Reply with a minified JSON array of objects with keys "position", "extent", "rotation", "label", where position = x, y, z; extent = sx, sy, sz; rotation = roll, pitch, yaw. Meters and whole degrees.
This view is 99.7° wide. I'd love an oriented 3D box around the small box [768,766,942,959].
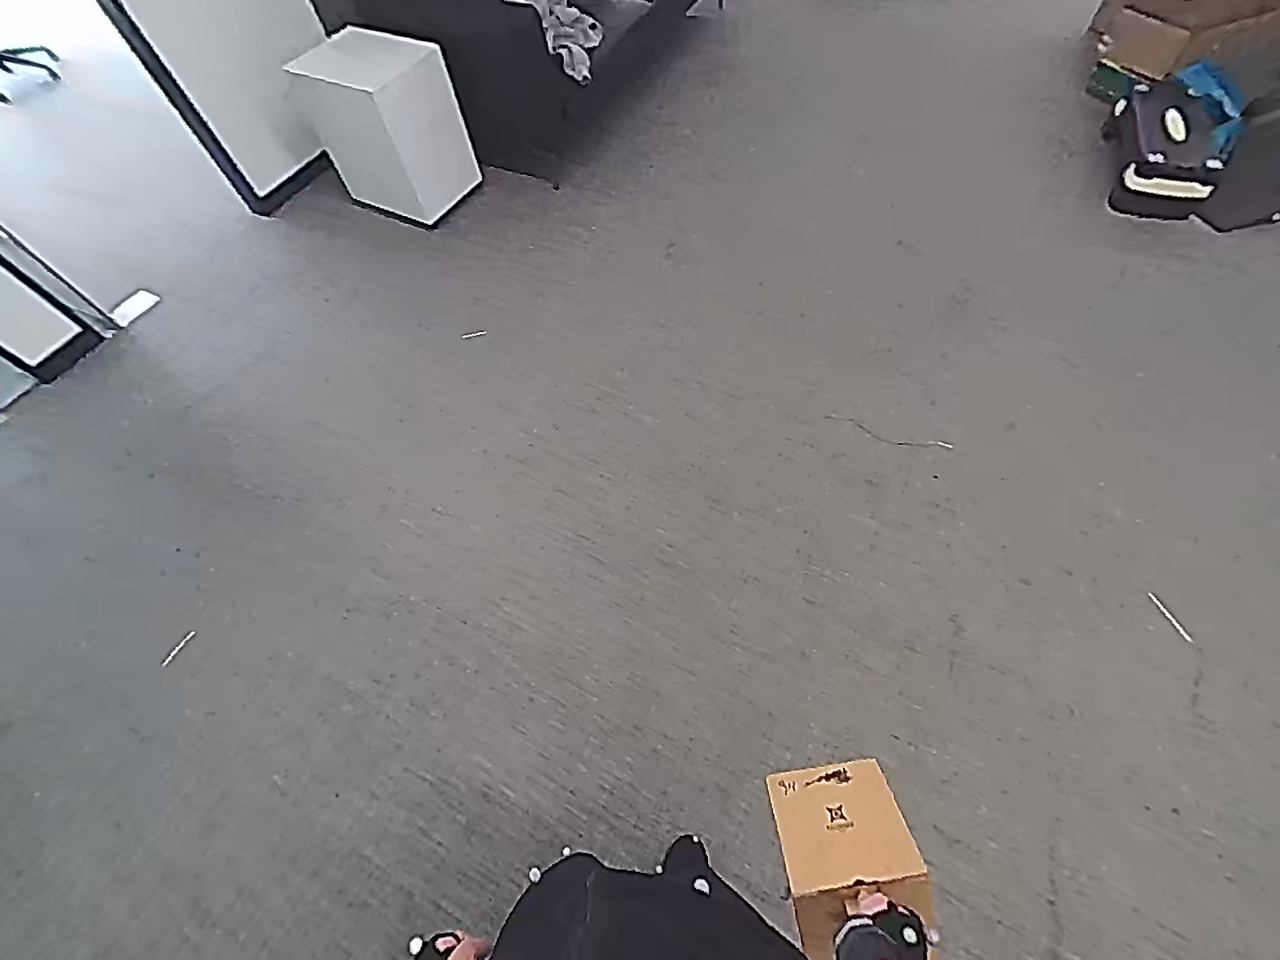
[{"position":[0.290,0.543,0.746],"extent":[0.168,0.176,0.179],"rotation":[-14,17,5],"label":"small box"}]
